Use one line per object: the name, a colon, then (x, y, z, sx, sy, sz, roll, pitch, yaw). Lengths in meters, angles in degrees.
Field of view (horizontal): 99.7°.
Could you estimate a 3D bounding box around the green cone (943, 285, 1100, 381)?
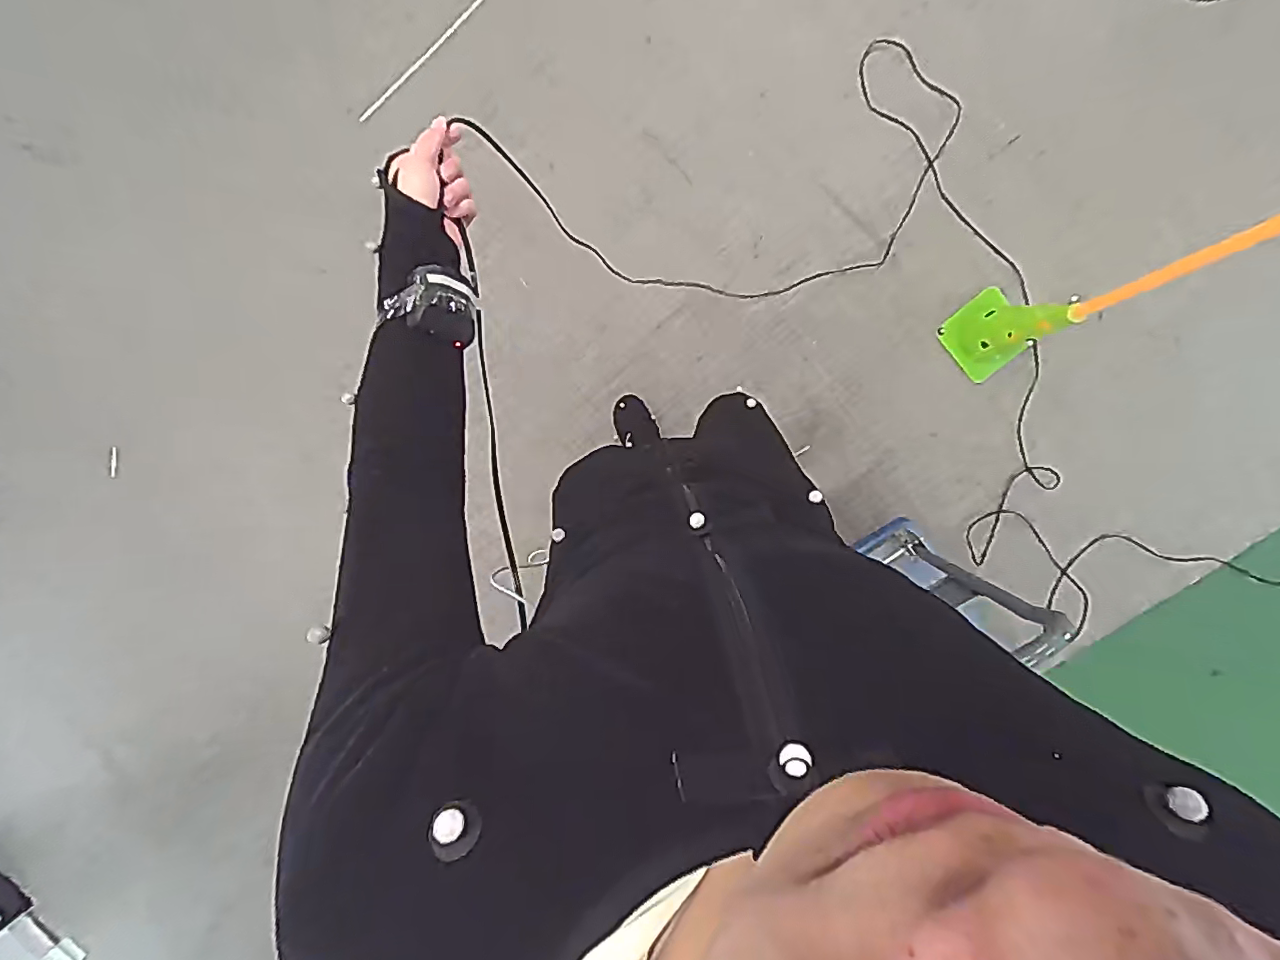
green cone: (0.952, -0.378, 1.310, 0.202, 0.368, 0.200, -41, 94, 7)
